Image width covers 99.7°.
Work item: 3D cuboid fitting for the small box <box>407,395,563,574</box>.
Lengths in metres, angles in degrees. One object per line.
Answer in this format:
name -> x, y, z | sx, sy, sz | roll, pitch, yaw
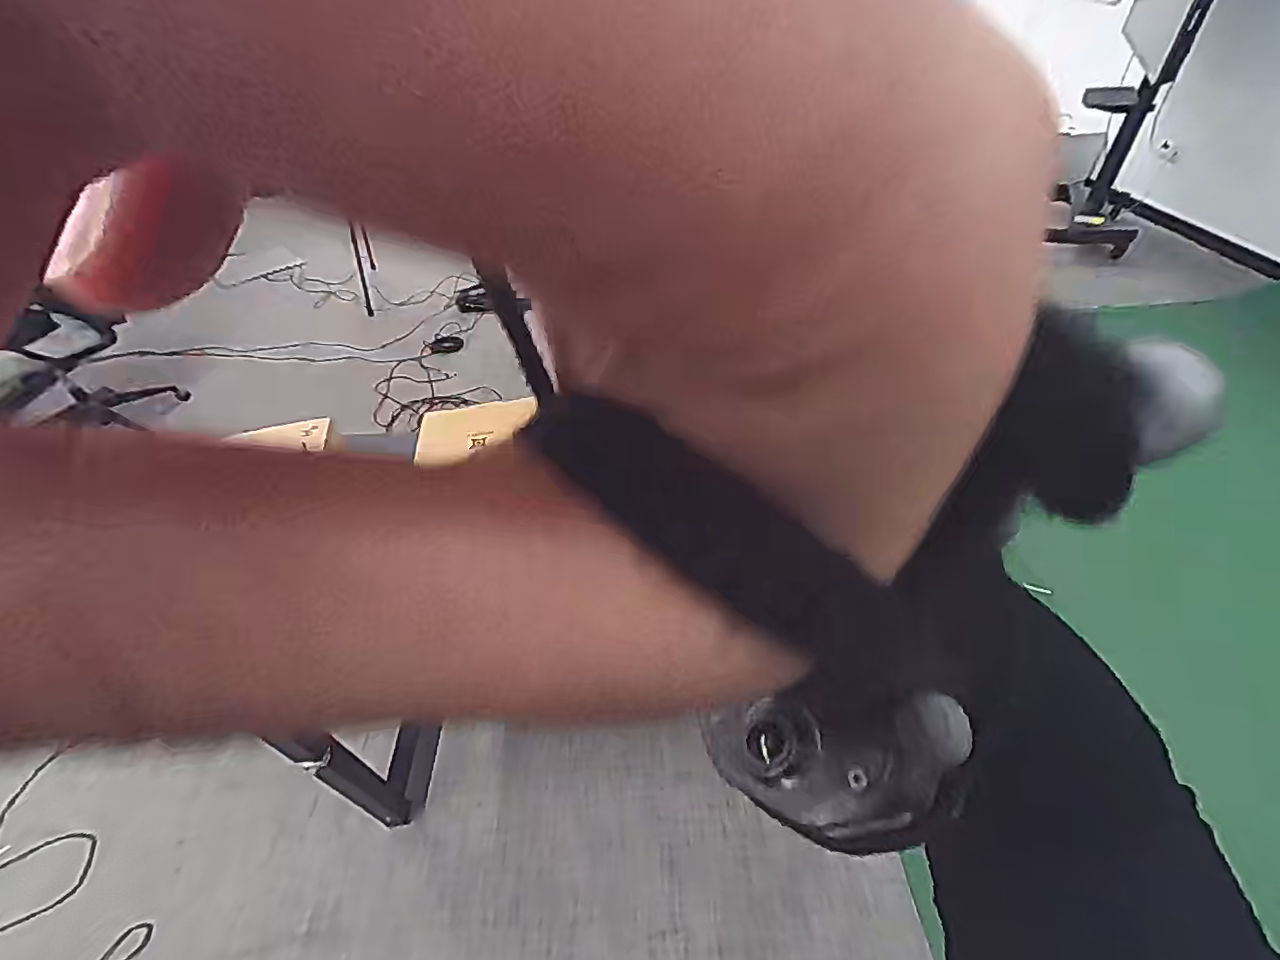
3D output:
small box -> -0.208, 0.006, 0.768 | 0.168, 0.176, 0.179 | -11, 44, -4
